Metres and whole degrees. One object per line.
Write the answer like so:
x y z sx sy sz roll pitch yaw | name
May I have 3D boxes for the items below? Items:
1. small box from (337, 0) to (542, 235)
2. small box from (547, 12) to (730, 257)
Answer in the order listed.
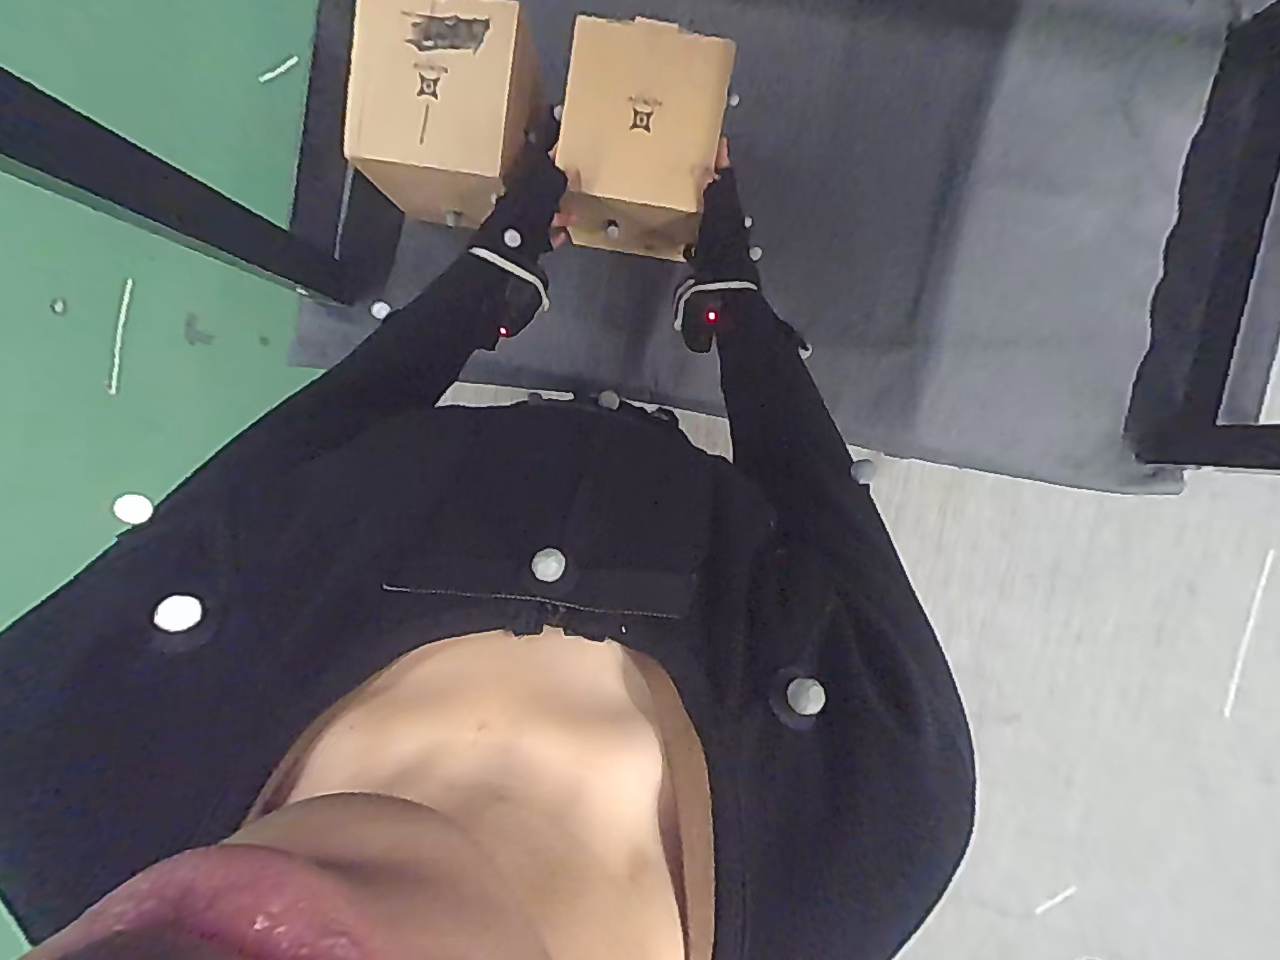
-0.216 -0.415 0.627 0.168 0.176 0.179 9 94 0 | small box
0.000 -0.381 0.630 0.168 0.176 0.179 9 94 1 | small box
